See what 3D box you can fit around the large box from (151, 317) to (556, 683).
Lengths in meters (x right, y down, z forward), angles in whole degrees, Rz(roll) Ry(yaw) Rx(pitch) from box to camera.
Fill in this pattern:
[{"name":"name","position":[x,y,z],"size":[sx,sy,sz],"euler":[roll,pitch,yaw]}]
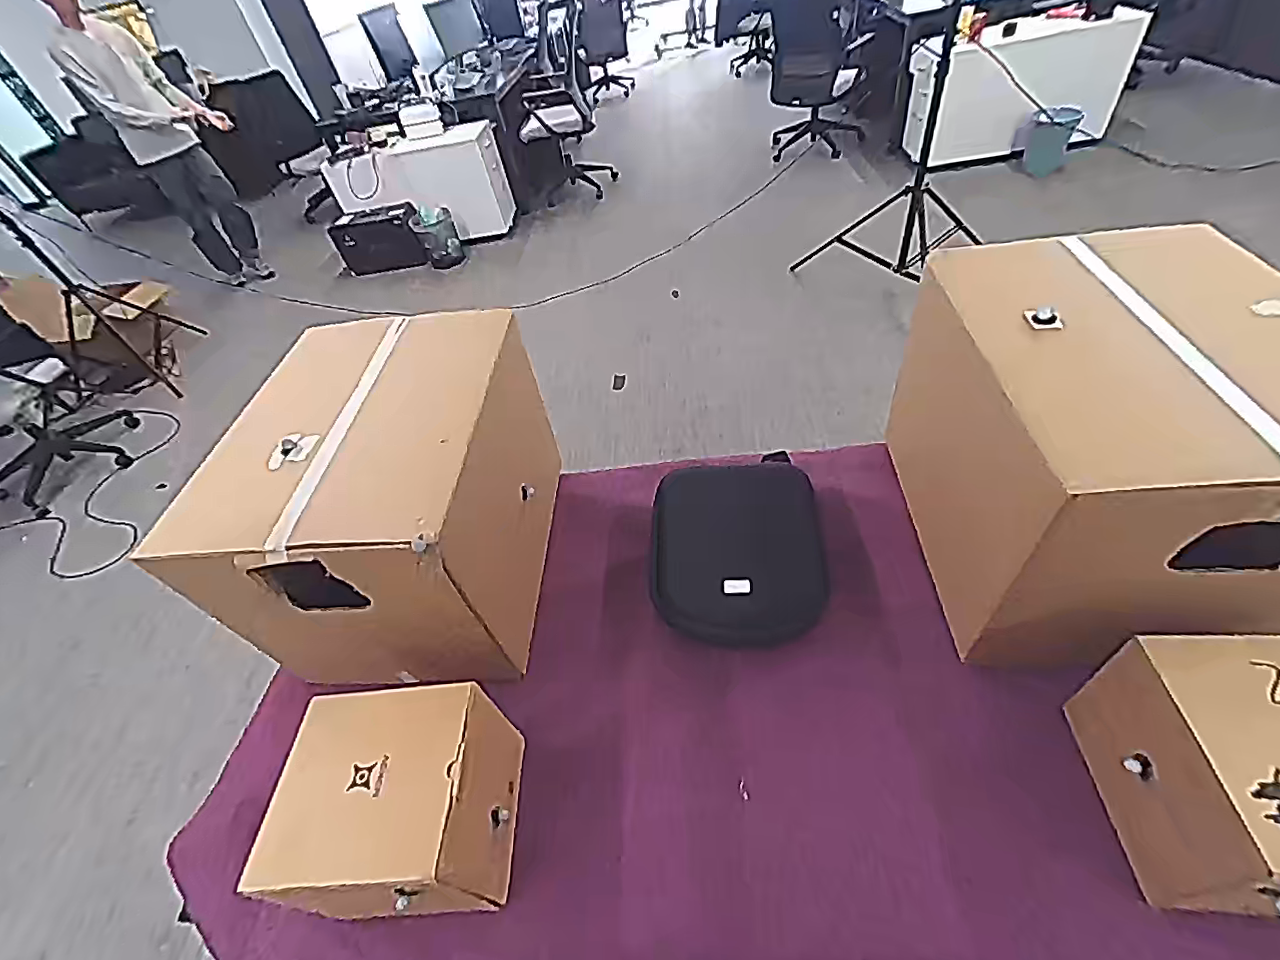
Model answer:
[{"name":"large box","position":[-0.314,0.027,0.755],"size":[0.320,0.320,0.408],"euler":[-5,49,6]}]

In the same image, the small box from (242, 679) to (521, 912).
[{"name":"small box","position":[-0.239,0.327,0.556],"size":[0.179,0.176,0.168],"euler":[-7,45,4]}]
